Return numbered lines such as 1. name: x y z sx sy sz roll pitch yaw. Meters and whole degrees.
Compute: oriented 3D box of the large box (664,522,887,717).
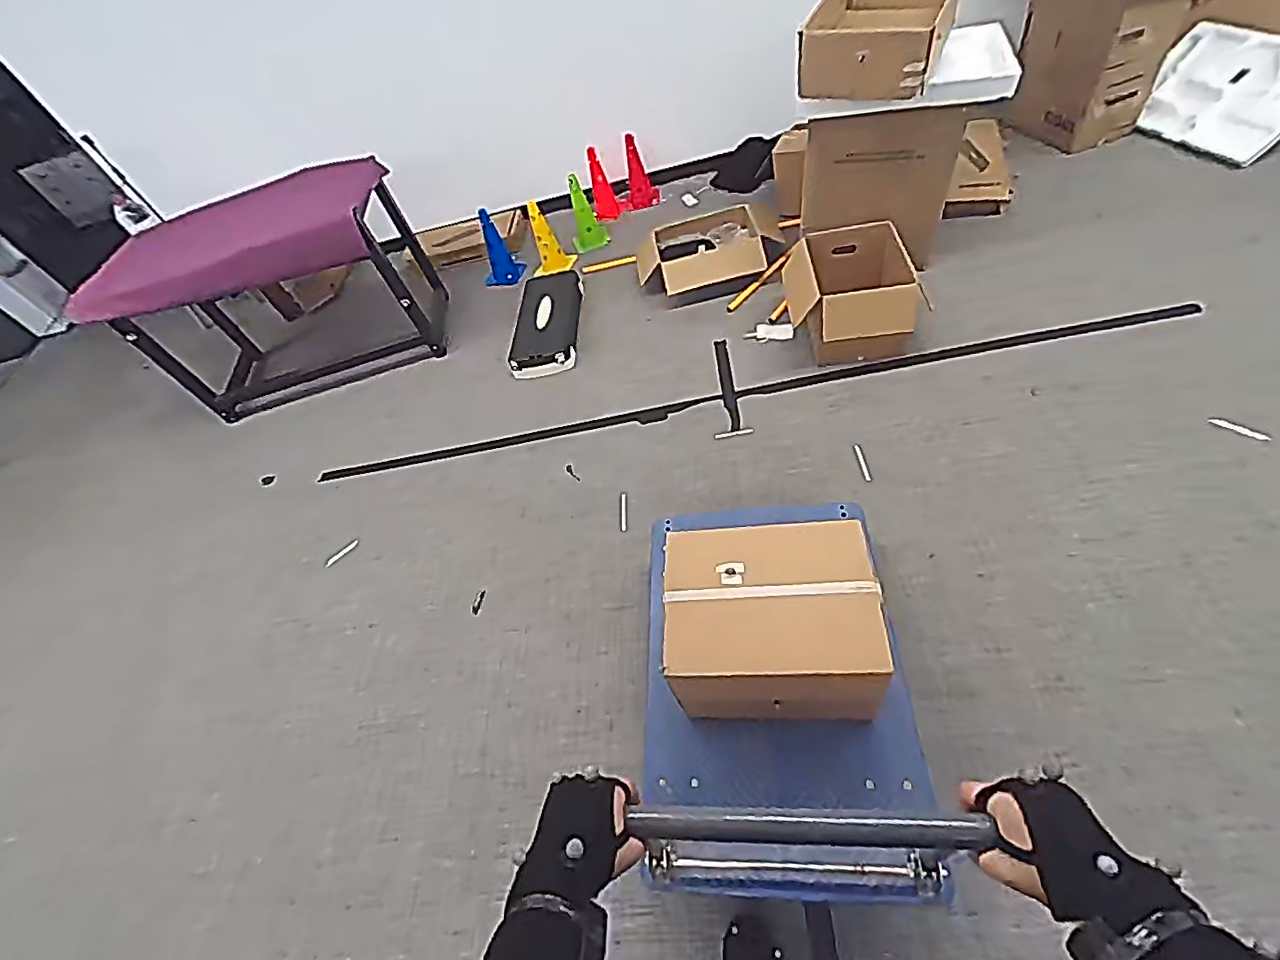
1. large box: 0.280 0.318 1.182 0.408 0.320 0.320 -6 51 13
